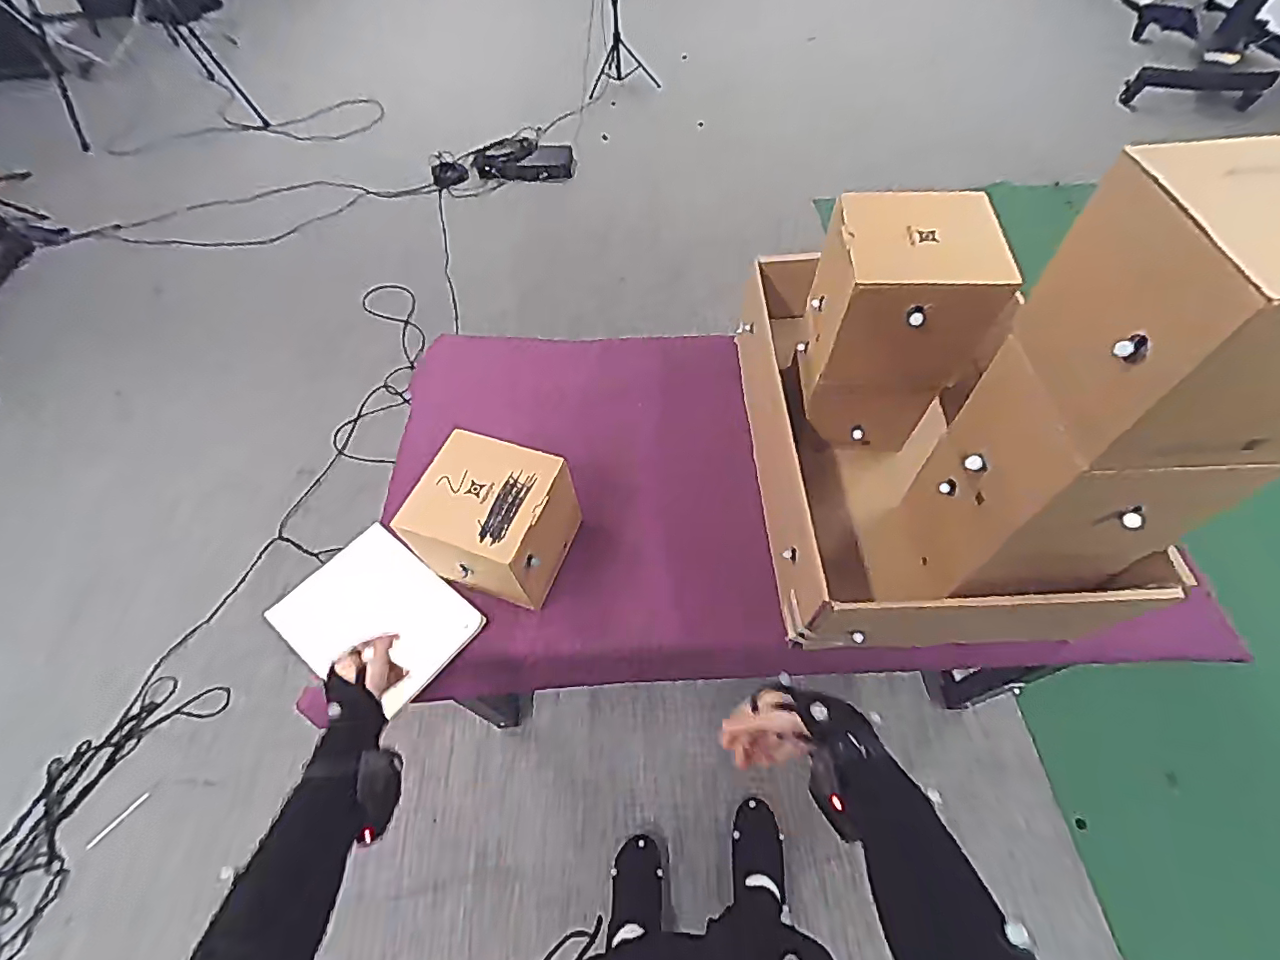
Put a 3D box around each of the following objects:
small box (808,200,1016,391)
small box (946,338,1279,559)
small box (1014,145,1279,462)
[{"bbox_3d":[0.325,-0.228,0.688,0.179,0.176,0.168,2,59,6],"label":"small box"},{"bbox_3d":[0.449,-0.029,0.545,0.179,0.176,0.168,-3,56,4],"label":"small box"},{"bbox_3d":[0.435,-0.124,0.414,0.168,0.176,0.179,-2,56,4],"label":"small box"}]
